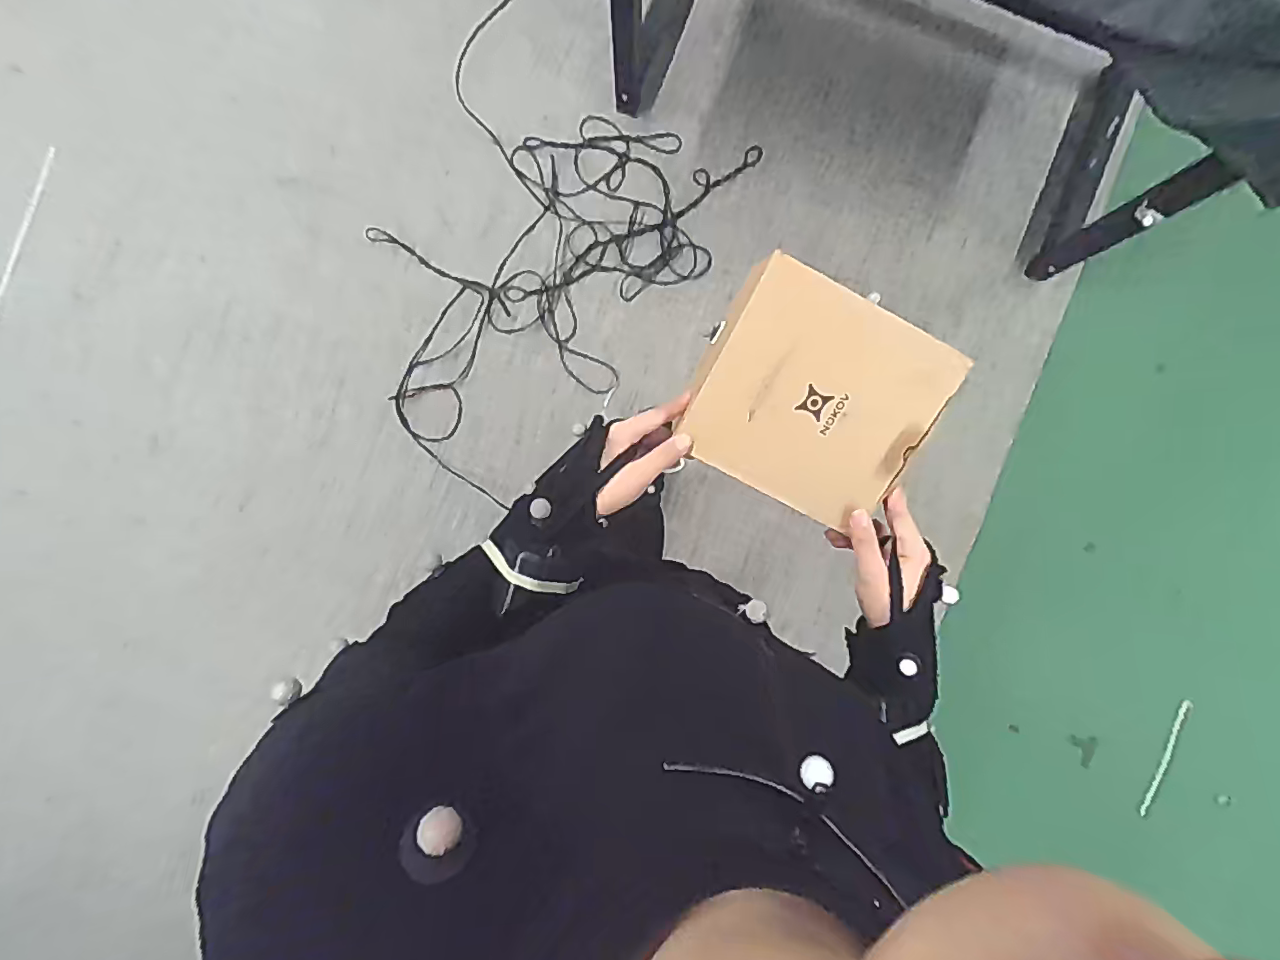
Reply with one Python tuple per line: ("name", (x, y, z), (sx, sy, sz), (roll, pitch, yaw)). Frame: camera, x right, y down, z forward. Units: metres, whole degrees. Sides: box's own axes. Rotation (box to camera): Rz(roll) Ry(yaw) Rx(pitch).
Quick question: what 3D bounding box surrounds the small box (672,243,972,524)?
("small box", (0.143, -0.090, 0.496), (0.179, 0.176, 0.168), (26, 105, -3))
